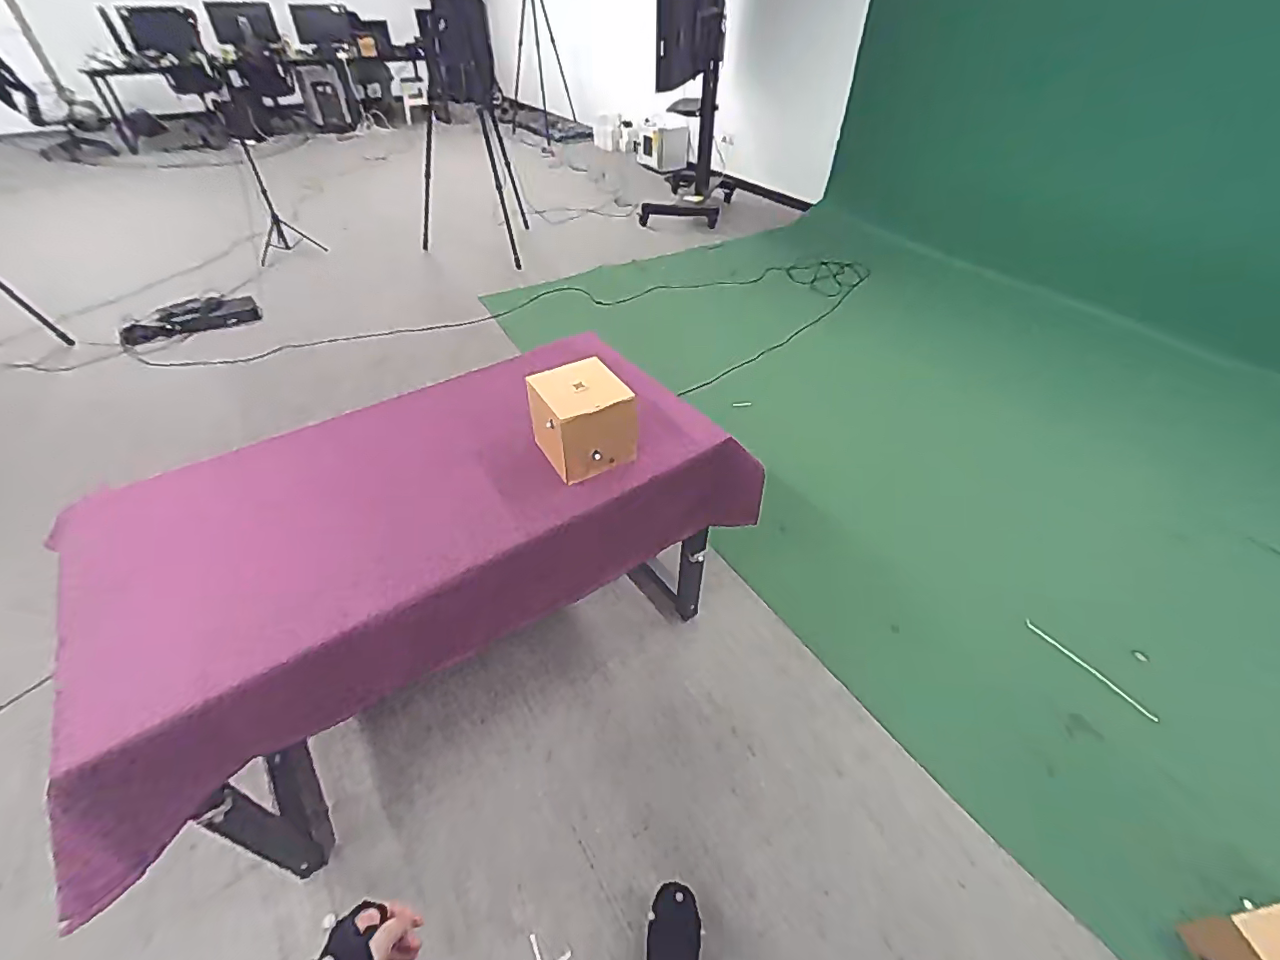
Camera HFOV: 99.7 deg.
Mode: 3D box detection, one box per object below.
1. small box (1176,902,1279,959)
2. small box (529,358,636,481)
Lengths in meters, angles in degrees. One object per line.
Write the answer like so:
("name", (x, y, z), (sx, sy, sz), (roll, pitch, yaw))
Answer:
("small box", (1.246, 0.957, 1.069), (0.179, 0.176, 0.168), (-6, 43, -7))
("small box", (-0.121, -0.129, 1.146), (0.168, 0.176, 0.179), (-22, 48, -22))
